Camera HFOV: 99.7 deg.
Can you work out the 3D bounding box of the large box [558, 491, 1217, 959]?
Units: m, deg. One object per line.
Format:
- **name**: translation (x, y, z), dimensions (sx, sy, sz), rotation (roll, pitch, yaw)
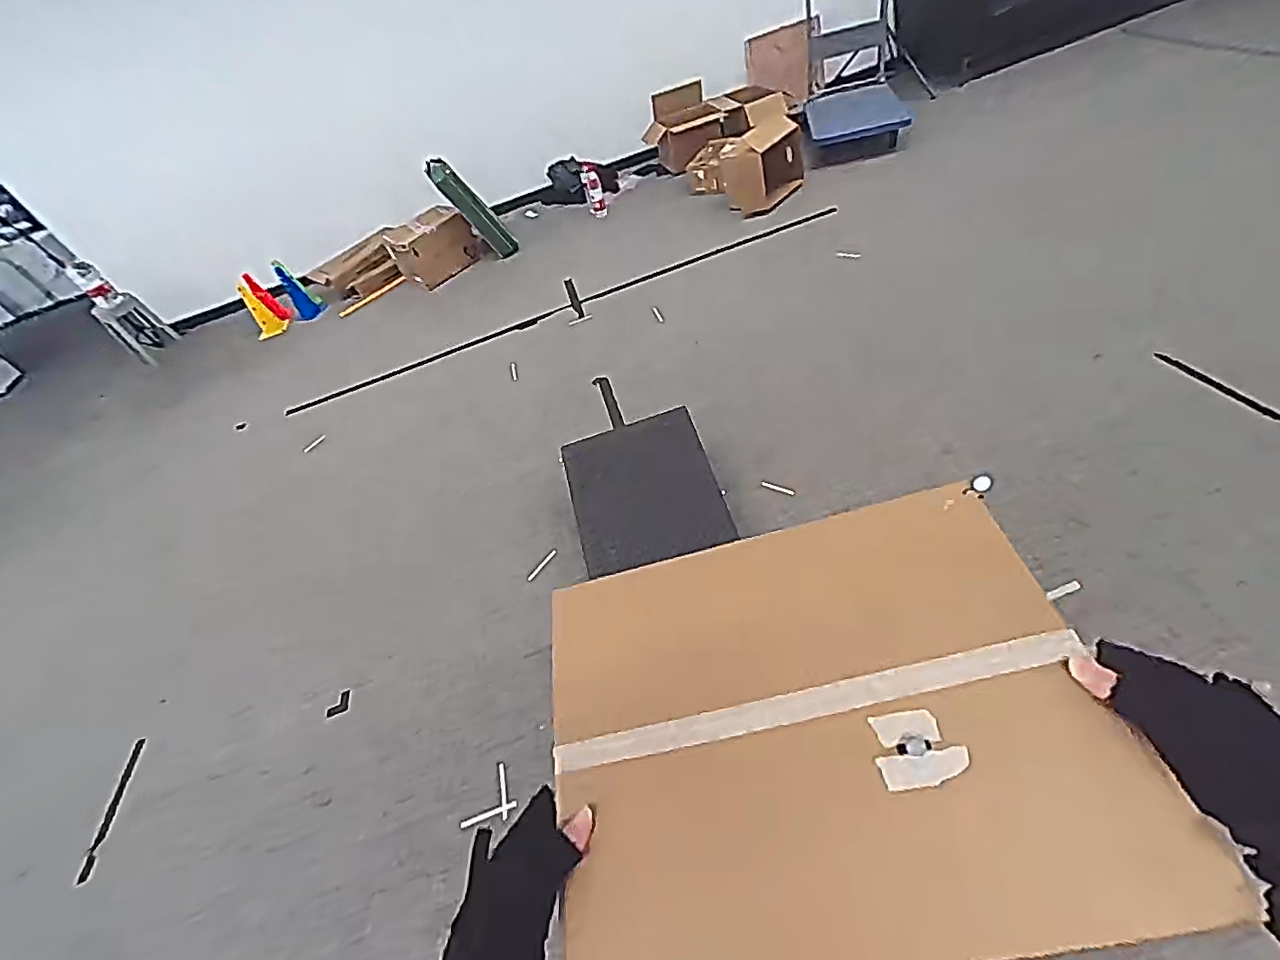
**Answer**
- **large box**: translation (0.166, 0.271, 0.541), dimensions (0.408, 0.320, 0.320), rotation (-17, 50, 7)
